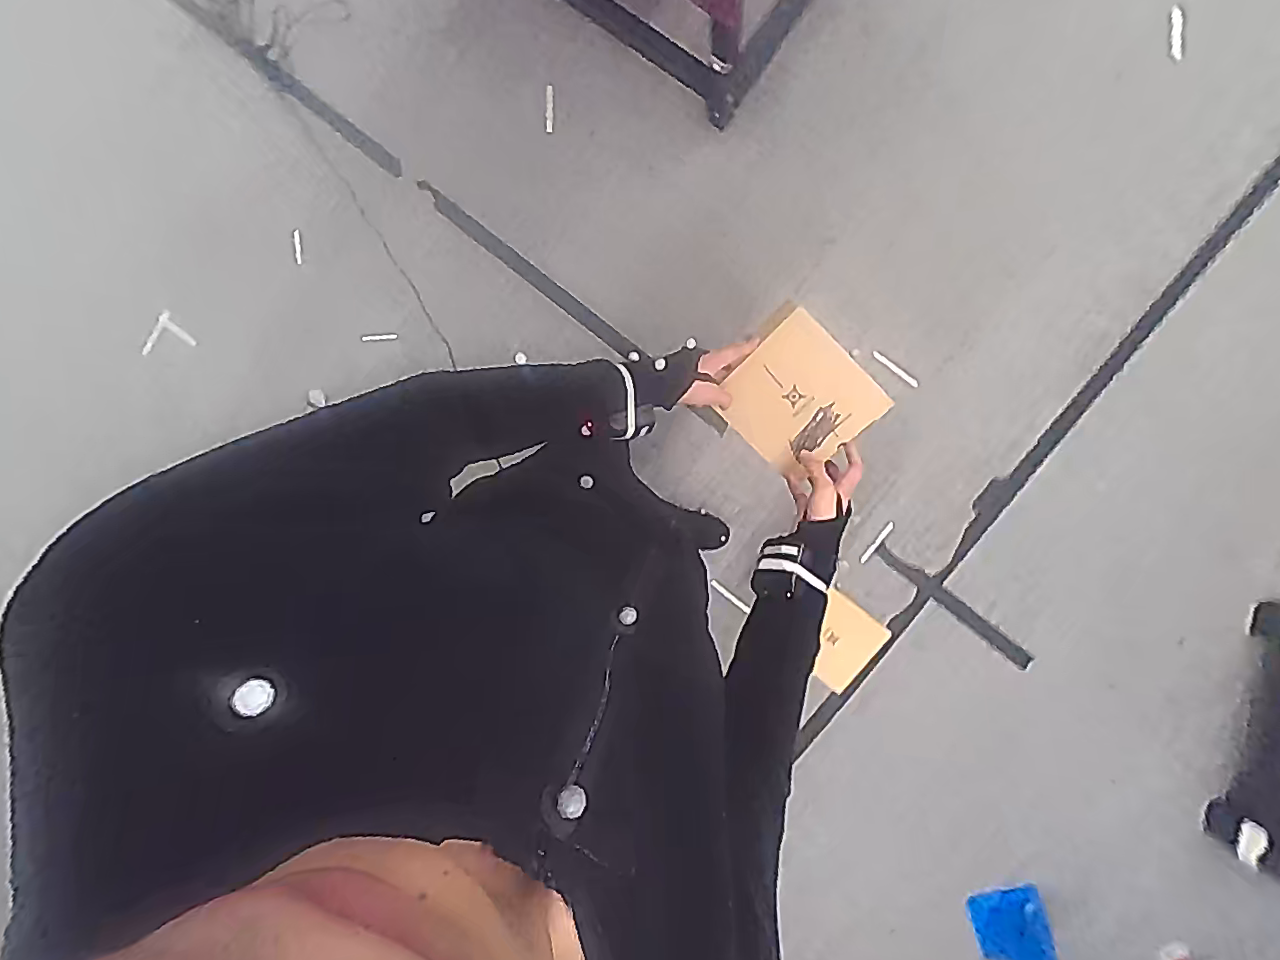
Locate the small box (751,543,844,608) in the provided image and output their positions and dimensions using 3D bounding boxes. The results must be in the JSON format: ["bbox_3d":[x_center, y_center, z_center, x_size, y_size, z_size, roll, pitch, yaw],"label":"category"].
[{"bbox_3d":[0.429,0.294,1.504,0.179,0.176,0.168,35,97,5],"label":"small box"}]

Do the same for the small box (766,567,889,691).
[{"bbox_3d":[0.396,0.312,1.179,0.179,0.176,0.168,38,98,4],"label":"small box"}]

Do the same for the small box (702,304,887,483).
[{"bbox_3d":[0.211,-0.132,0.768,0.179,0.176,0.168,43,112,-7],"label":"small box"}]
